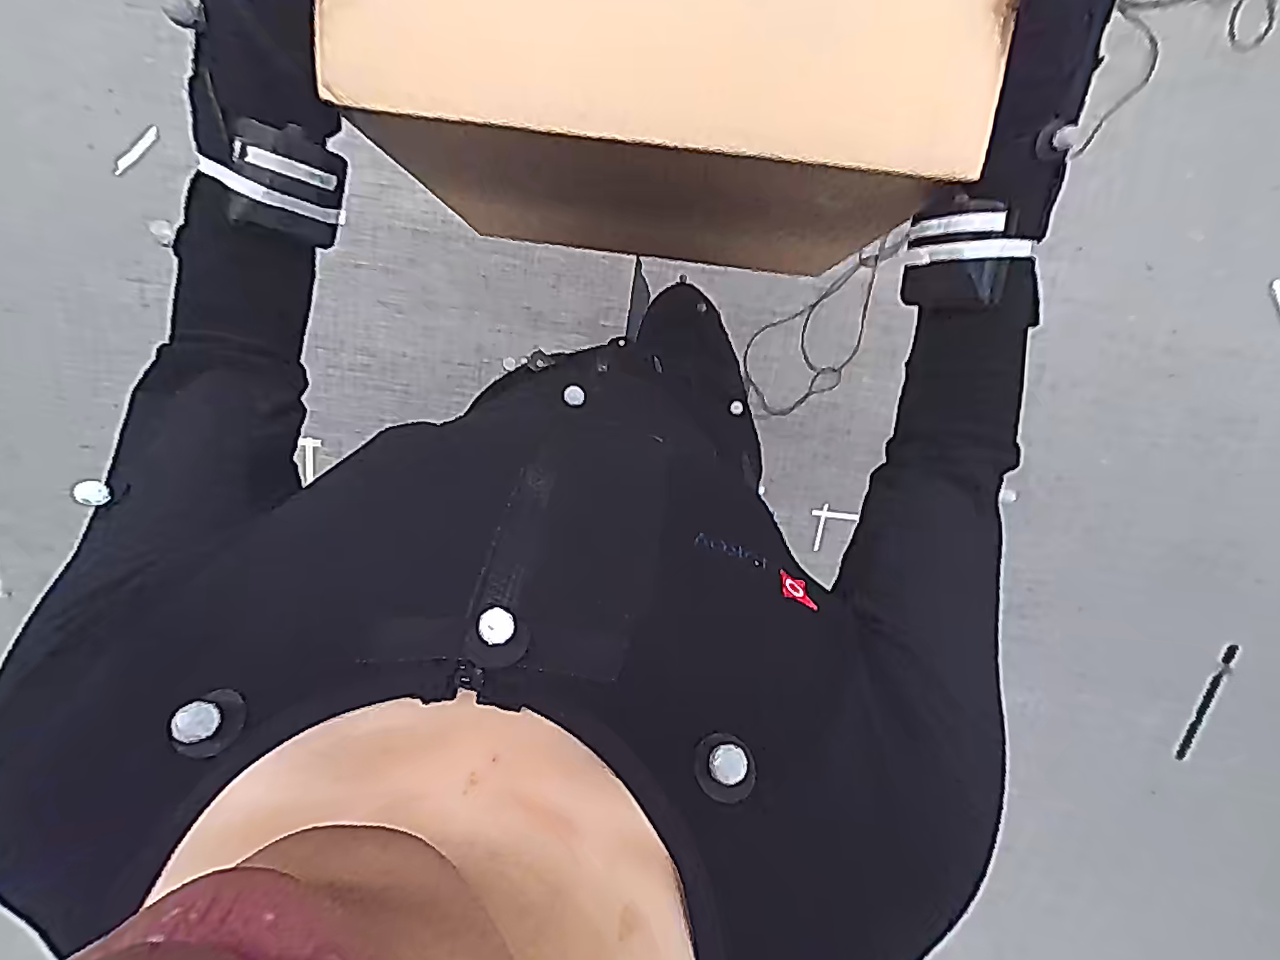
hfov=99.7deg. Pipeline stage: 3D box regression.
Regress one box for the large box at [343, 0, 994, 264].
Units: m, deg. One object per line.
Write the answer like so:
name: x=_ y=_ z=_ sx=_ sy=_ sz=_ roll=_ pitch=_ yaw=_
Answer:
large box: x=0.025 y=-0.395 z=0.463 sx=0.408 sy=0.320 sz=0.320 roll=6 pitch=101 yaw=-1

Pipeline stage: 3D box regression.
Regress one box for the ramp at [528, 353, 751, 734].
ramp: x=-0.010 y=0.181 z=1.478 sx=0.509 sy=0.206 sz=0.991 roll=6 pitch=103 yaw=2
